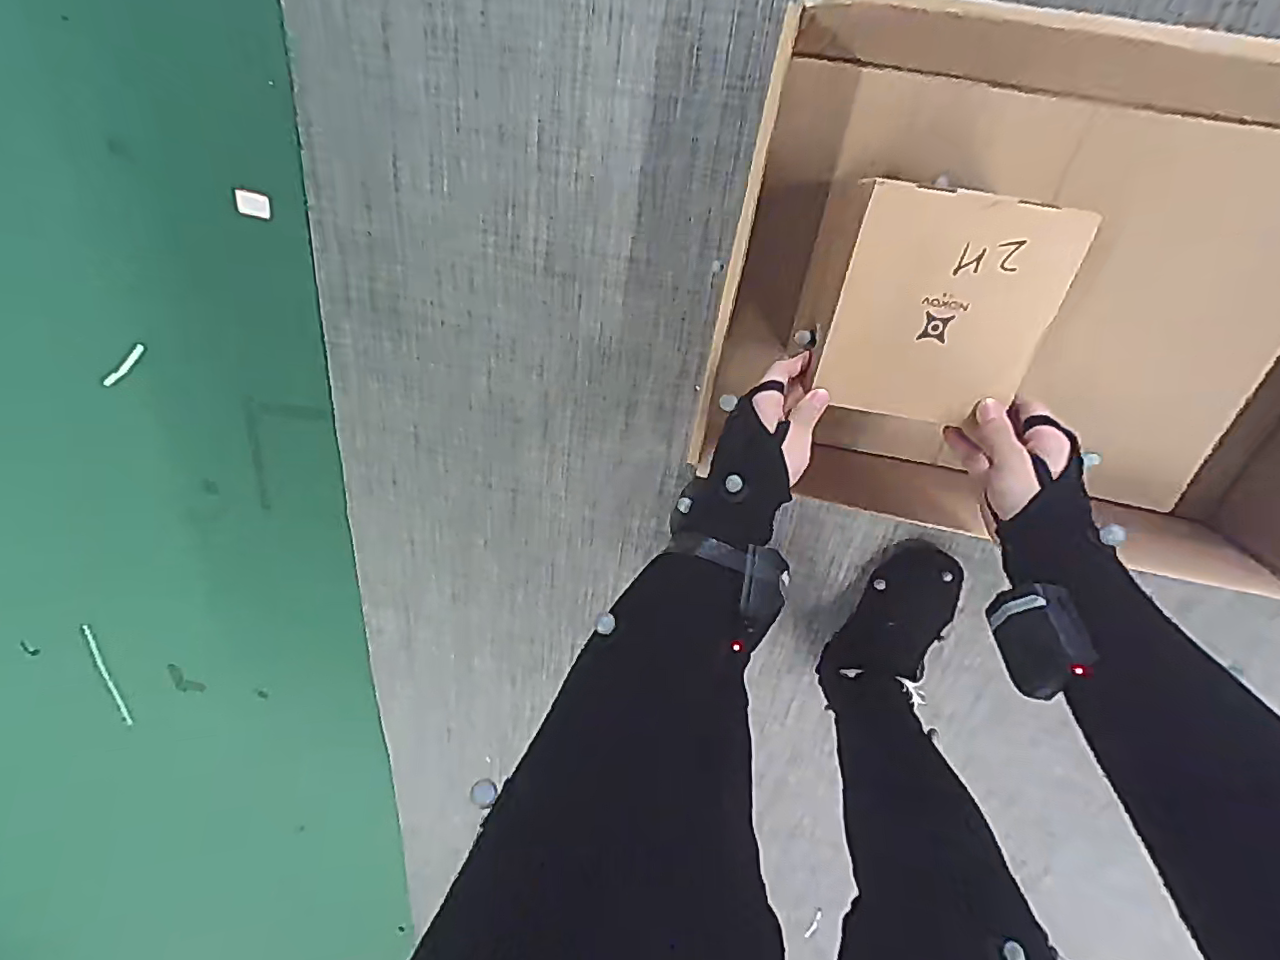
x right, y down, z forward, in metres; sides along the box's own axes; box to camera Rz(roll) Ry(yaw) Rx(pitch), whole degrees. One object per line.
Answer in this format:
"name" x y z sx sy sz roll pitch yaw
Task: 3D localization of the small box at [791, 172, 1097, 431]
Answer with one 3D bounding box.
"small box" 0.245 -0.168 0.497 0.168 0.176 0.179 11 118 2
